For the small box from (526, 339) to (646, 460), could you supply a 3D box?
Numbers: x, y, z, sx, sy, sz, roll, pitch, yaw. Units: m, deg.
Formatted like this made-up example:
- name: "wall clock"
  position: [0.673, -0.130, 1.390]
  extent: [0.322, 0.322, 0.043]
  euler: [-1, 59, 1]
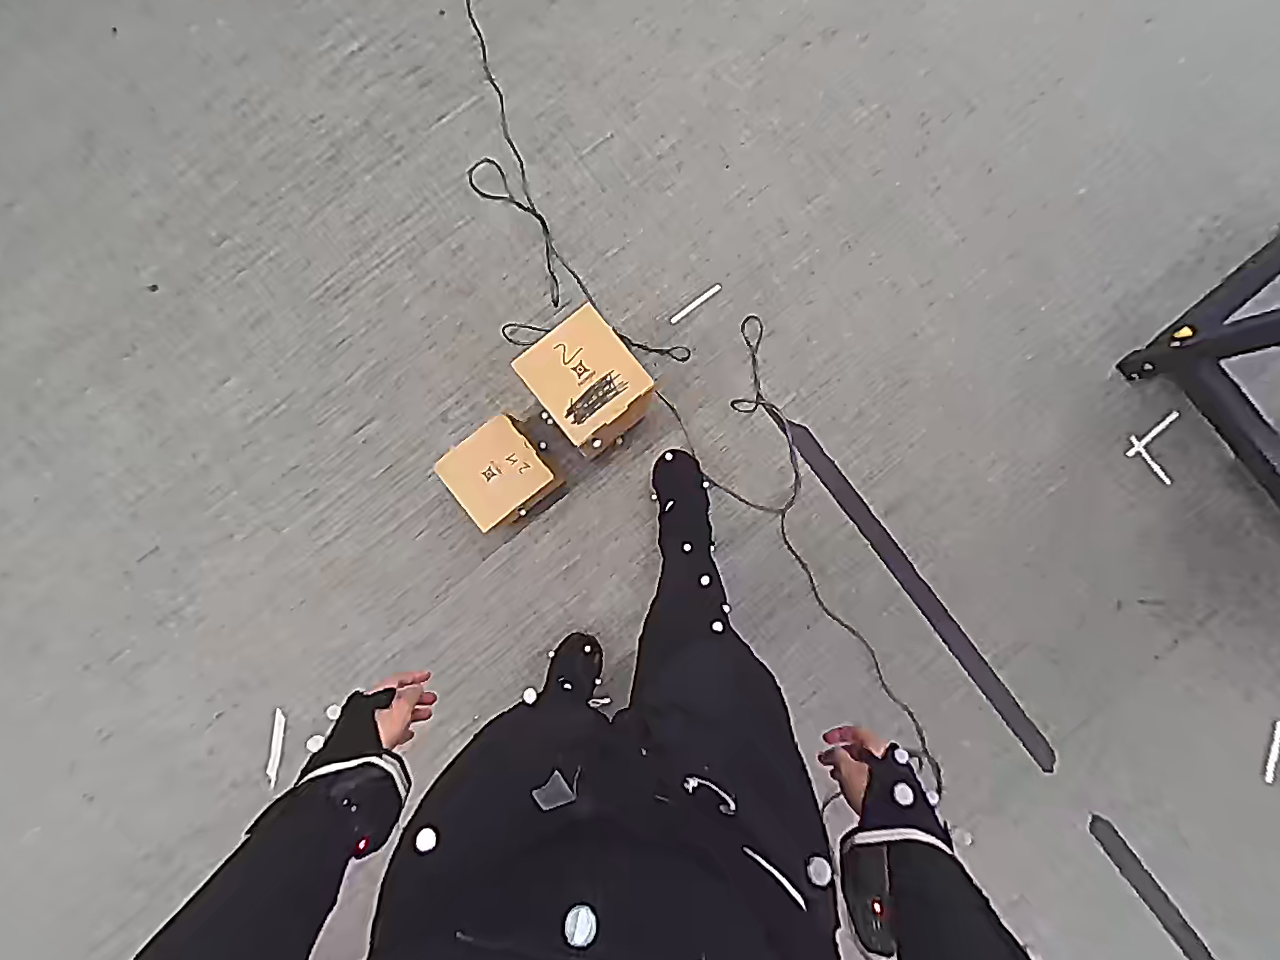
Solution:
- name: "small box"
  position: [-0.108, -0.155, 1.117]
  extent: [0.168, 0.176, 0.179]
  euler: [-39, 91, -2]

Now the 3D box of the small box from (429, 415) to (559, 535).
- name: "small box"
  position: [-0.286, -0.008, 1.106]
  extent: [0.179, 0.176, 0.168]
  euler: [-38, 90, -1]
